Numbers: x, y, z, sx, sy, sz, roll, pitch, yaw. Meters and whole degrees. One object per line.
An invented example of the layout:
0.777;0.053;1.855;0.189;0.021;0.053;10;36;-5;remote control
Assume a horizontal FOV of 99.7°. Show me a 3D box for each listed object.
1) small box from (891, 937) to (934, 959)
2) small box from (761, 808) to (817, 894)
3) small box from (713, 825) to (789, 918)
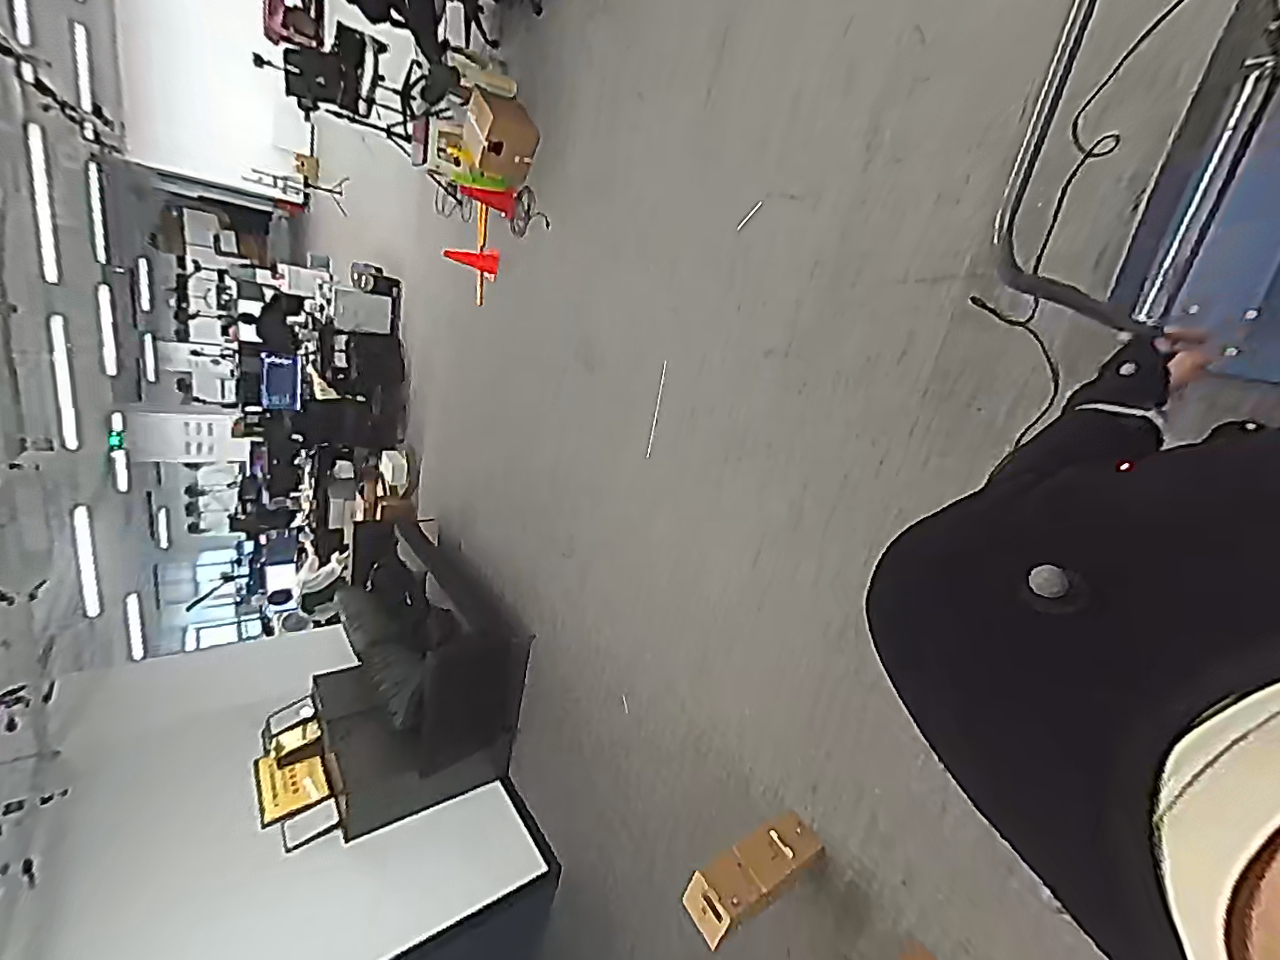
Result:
0.829;1.553;1.632;0.179;0.176;0.168;37;119;44;small box
0.520;1.361;1.991;0.168;0.176;0.179;42;122;38;small box
0.391;1.367;1.896;0.168;0.176;0.179;38;120;43;small box
